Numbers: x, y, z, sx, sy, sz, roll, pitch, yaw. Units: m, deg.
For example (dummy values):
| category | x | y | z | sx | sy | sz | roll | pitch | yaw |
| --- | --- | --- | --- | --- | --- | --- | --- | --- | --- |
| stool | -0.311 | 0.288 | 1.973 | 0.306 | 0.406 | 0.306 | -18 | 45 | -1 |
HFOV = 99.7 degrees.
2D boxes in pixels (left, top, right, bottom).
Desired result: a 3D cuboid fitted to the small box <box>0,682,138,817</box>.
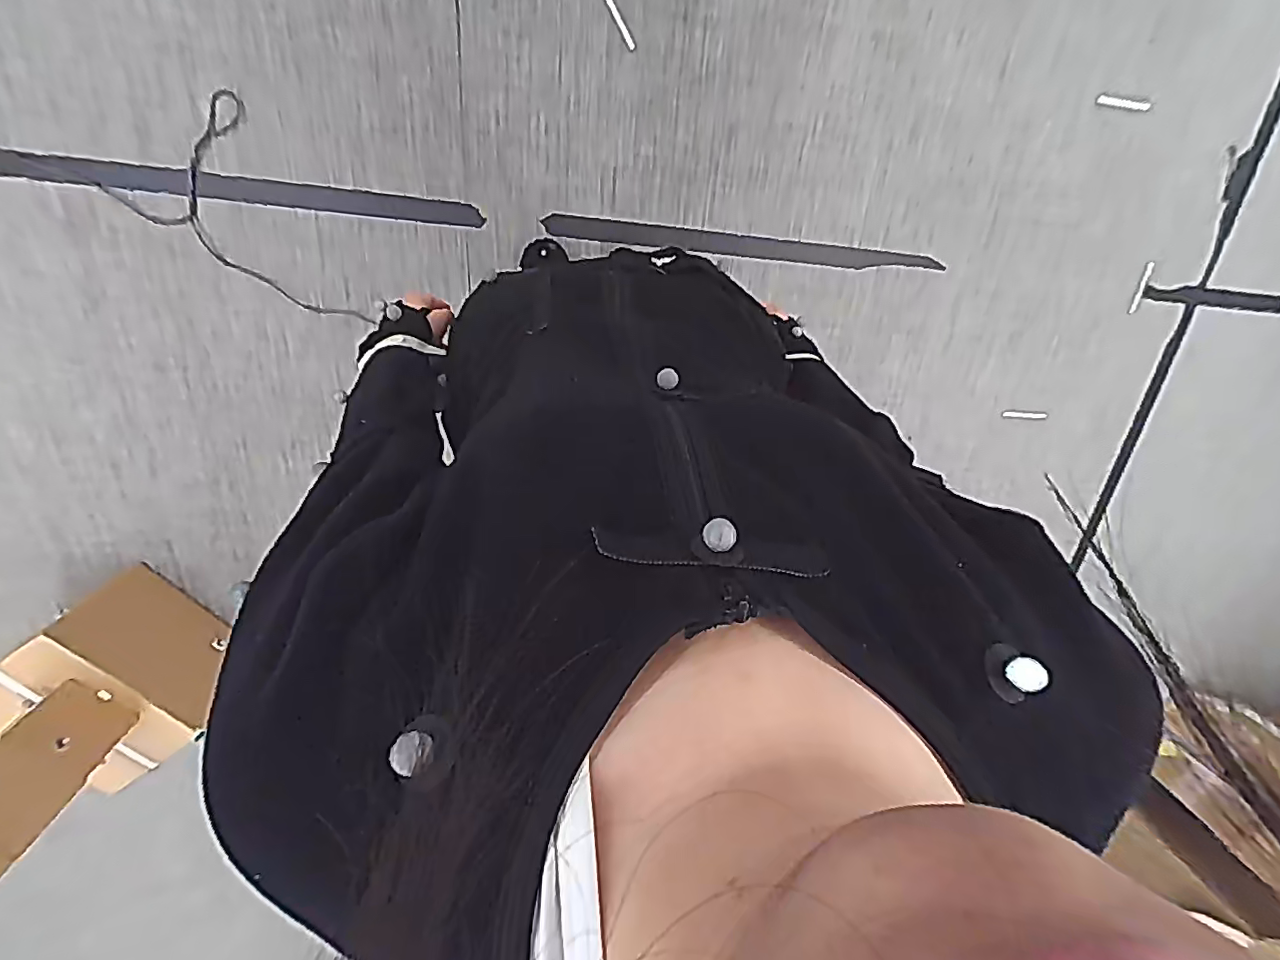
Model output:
| category | x | y | z | sx | sy | sz | roll | pitch | yaw |
| --- | --- | --- | --- | --- | --- | --- | --- | --- | --- |
| small box | -1.283 | 0.585 | 1.188 | 0.168 | 0.176 | 0.179 | -37 | 112 | 6 |
